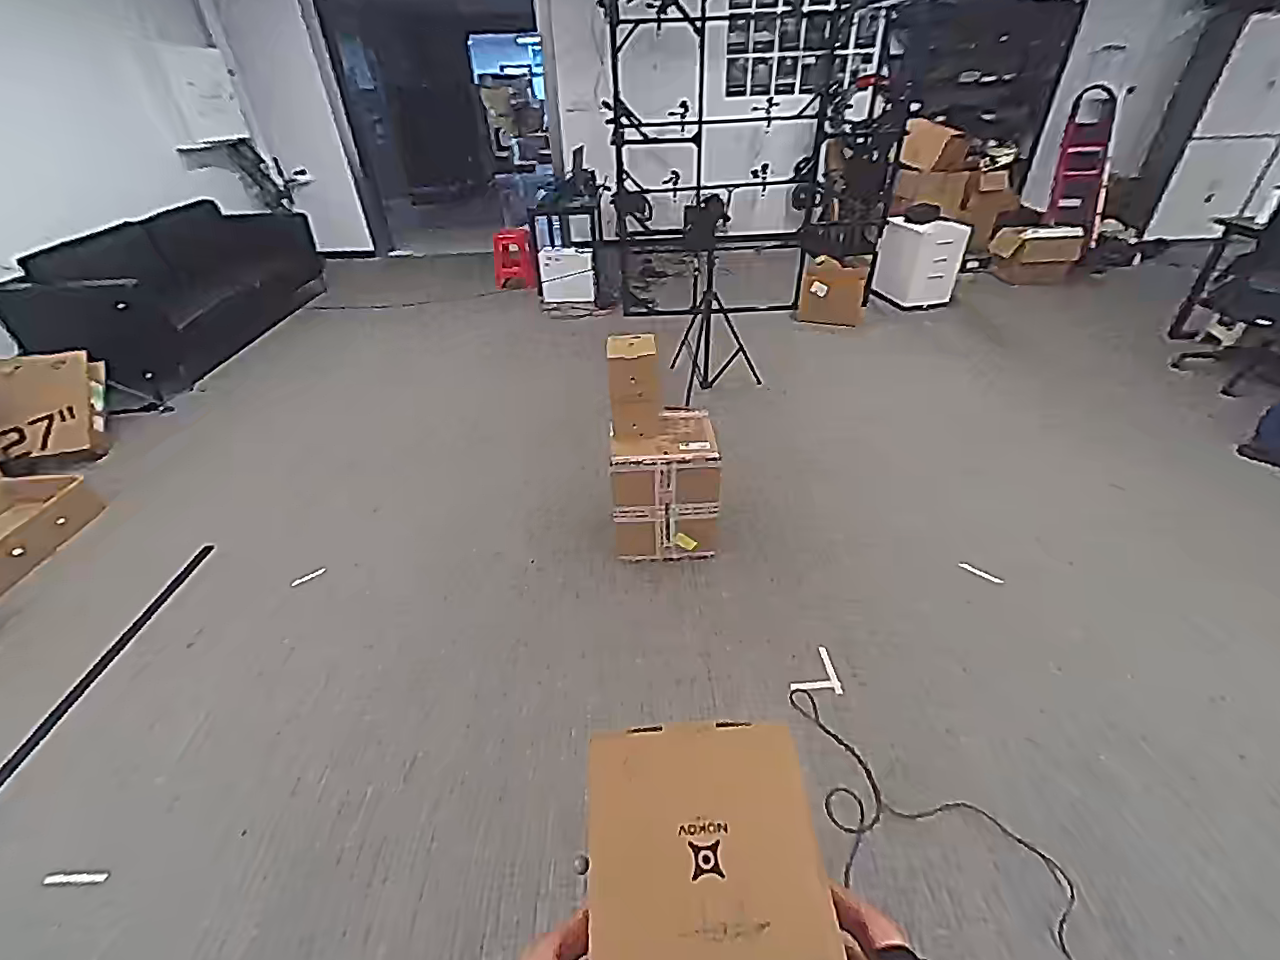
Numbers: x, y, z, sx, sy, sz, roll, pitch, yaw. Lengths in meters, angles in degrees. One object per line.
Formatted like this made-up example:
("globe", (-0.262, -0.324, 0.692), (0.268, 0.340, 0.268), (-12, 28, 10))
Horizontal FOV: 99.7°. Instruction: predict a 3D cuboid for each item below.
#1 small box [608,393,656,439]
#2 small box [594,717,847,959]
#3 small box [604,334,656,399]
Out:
("small box", (-0.029, -0.270, 2.008), (0.168, 0.176, 0.179), (-5, 38, 0))
("small box", (0.047, 0.318, 0.446), (0.168, 0.176, 0.179), (-2, 47, -3))
("small box", (-0.033, -0.395, 1.900), (0.168, 0.176, 0.179), (-4, 39, 1))
